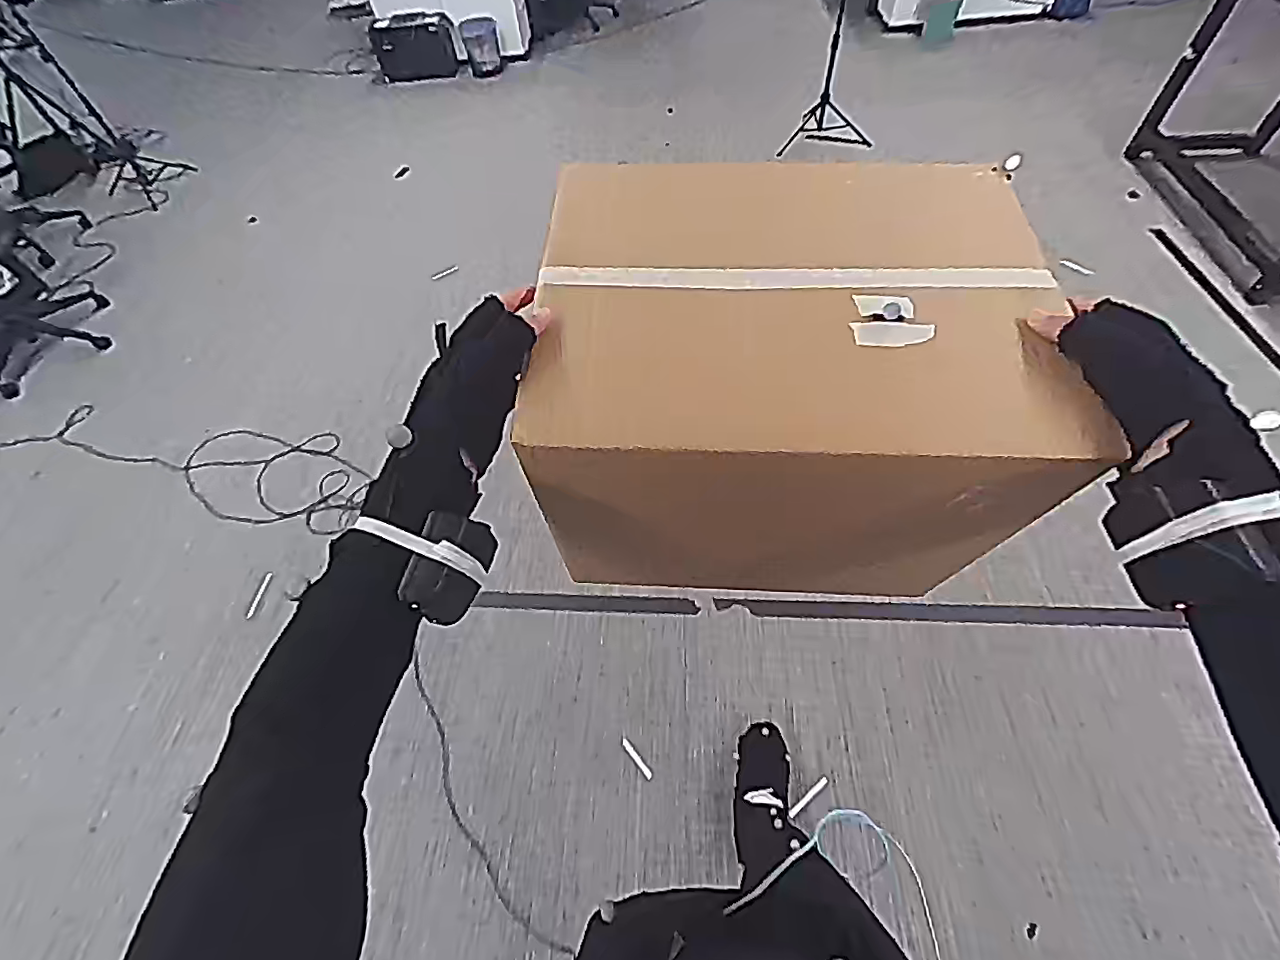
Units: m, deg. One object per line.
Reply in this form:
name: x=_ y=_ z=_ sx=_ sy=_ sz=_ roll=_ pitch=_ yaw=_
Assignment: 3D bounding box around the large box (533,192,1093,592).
large box: x=0.125 y=-0.074 z=0.583 sx=0.408 sy=0.320 sz=0.320 roll=1 pitch=62 yaw=2
